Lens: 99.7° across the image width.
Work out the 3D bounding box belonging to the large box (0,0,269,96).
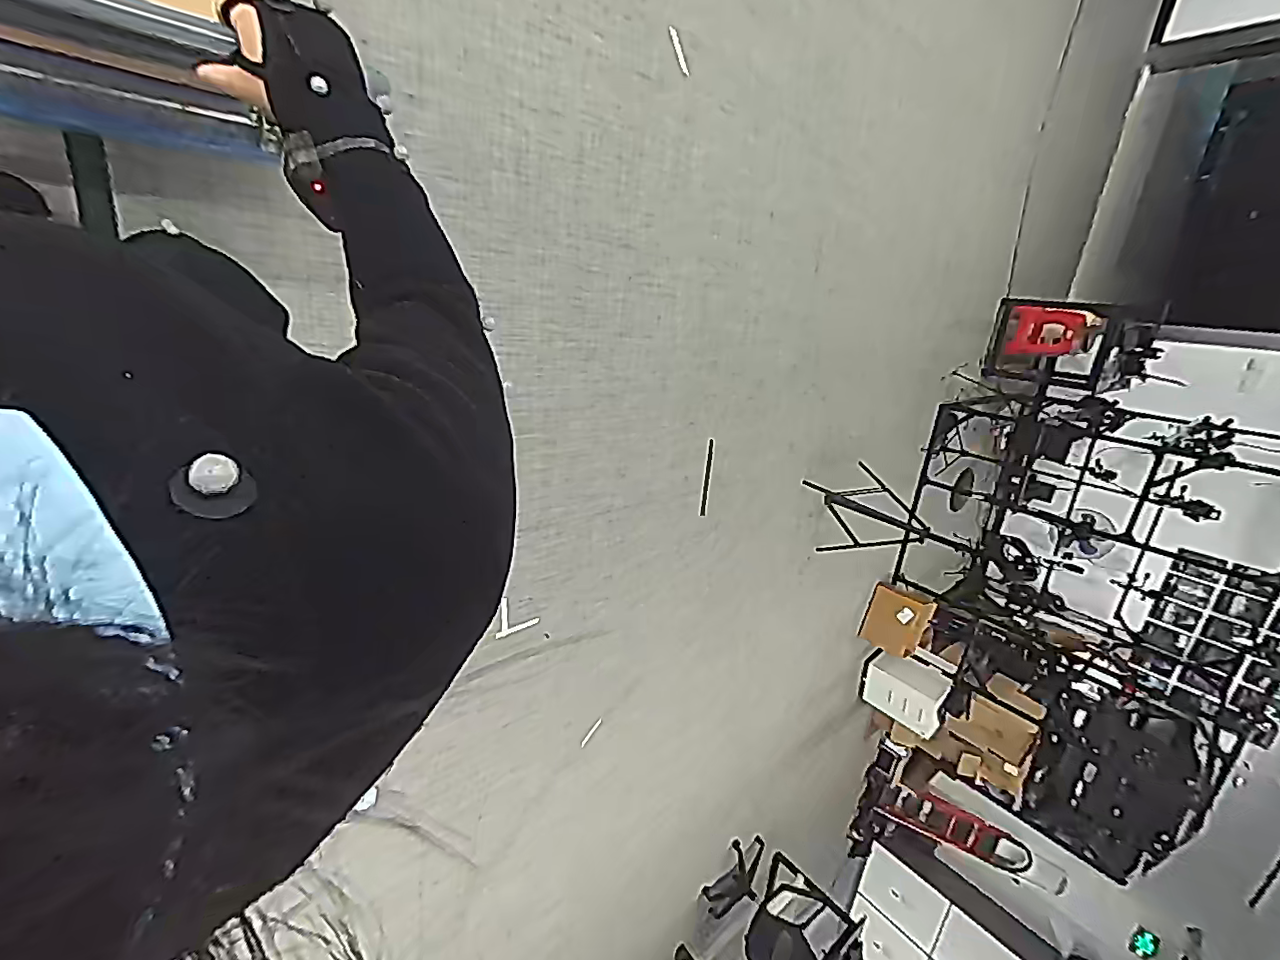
[{"bbox_3d":[-0.742,-0.732,0.662,0.408,0.320,0.320,-12,116,-41],"label":"large box"}]
